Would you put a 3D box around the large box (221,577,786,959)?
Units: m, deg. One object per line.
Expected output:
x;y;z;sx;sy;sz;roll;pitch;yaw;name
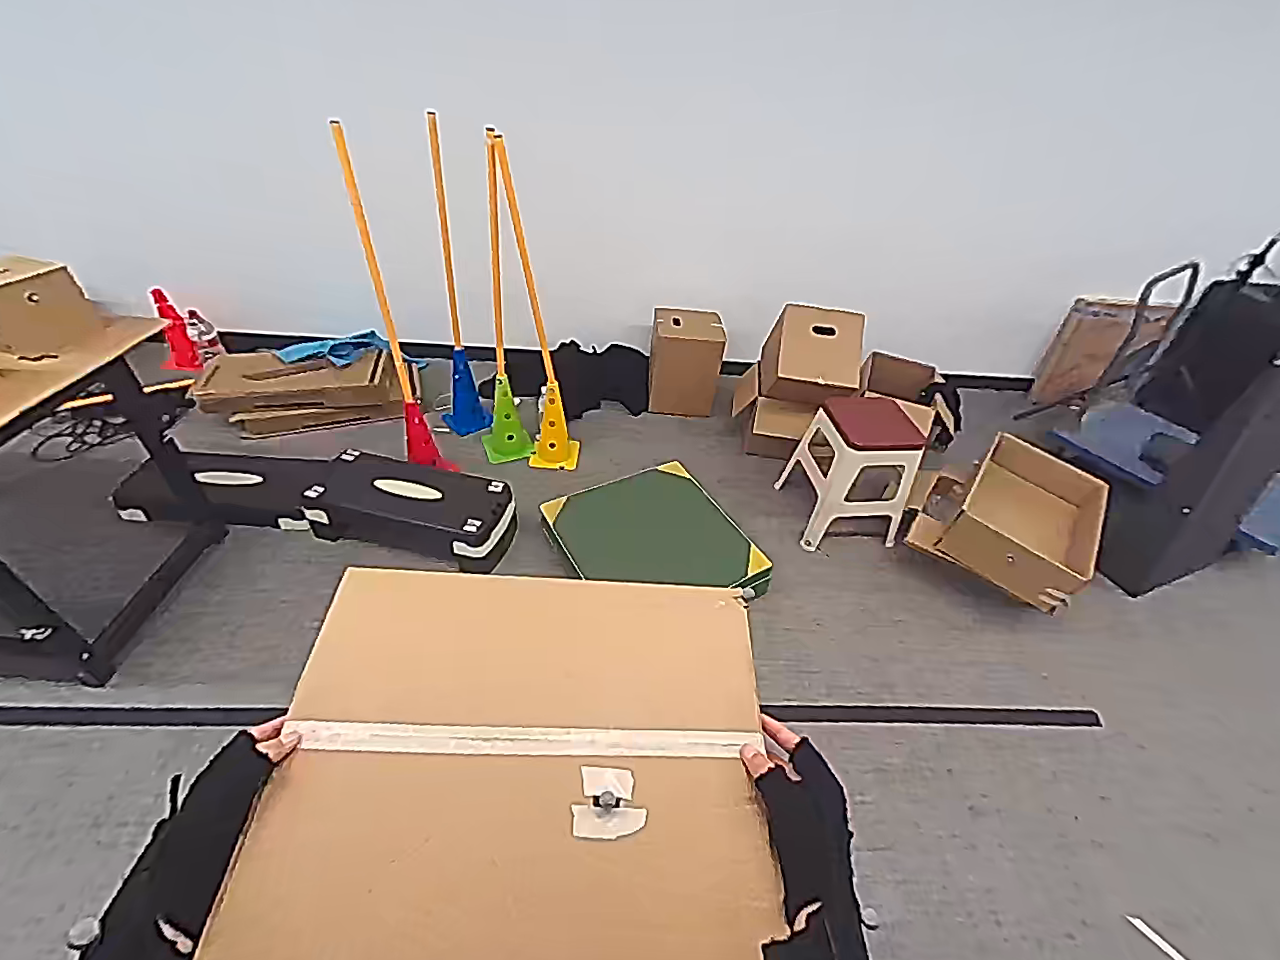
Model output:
-0.109;0.324;0.586;0.408;0.320;0.320;5;50;-6;large box
